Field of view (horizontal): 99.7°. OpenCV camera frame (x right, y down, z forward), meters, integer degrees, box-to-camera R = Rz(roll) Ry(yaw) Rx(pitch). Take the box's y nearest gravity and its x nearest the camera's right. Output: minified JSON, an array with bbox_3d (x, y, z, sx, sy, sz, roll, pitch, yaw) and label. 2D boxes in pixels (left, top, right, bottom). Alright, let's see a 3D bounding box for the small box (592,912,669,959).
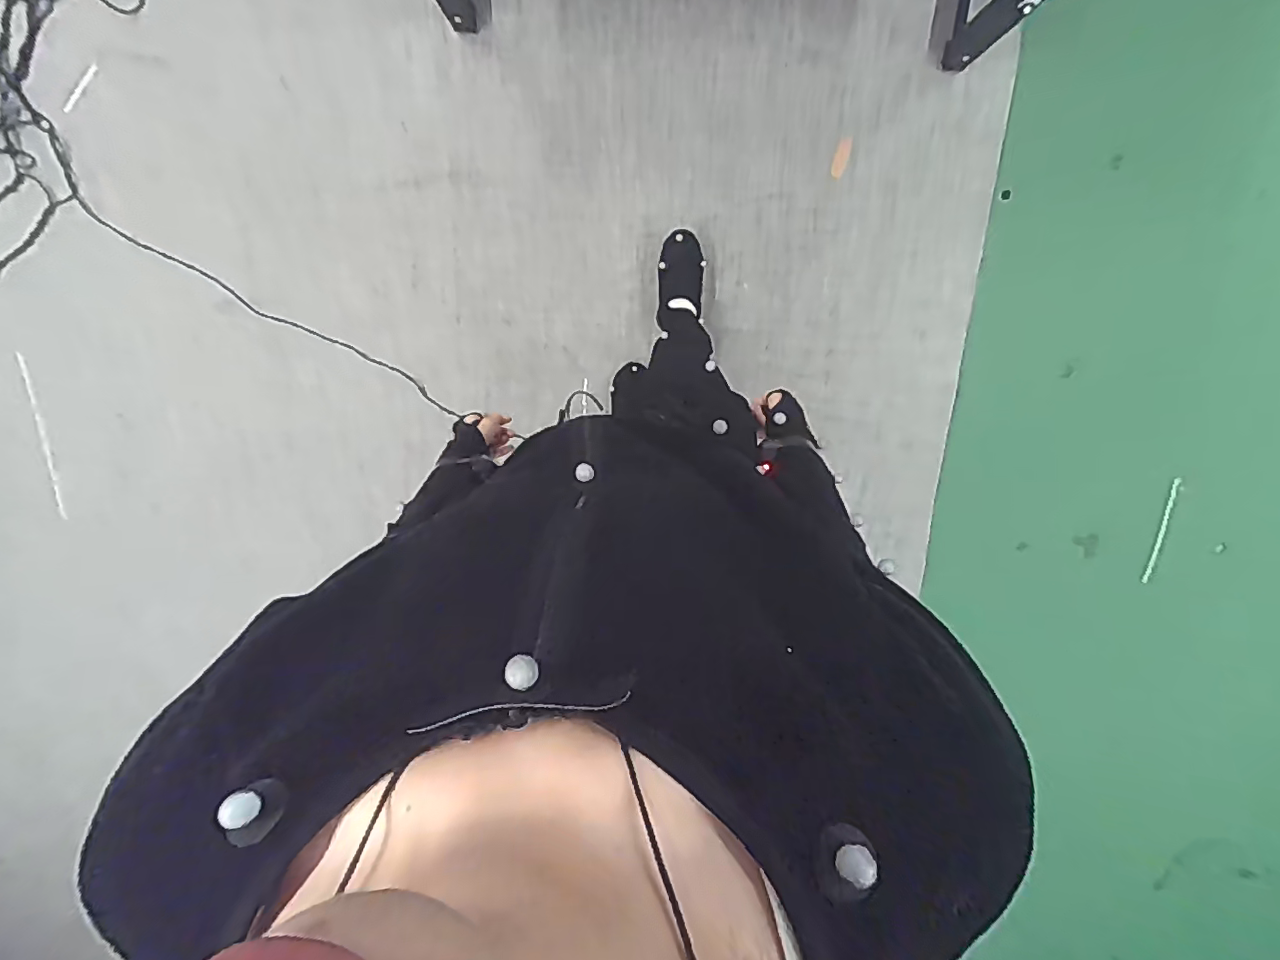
[{"bbox_3d":[-0.021,1.198,1.318,0.168,0.176,0.179,-12,104,4],"label":"small box"}]
